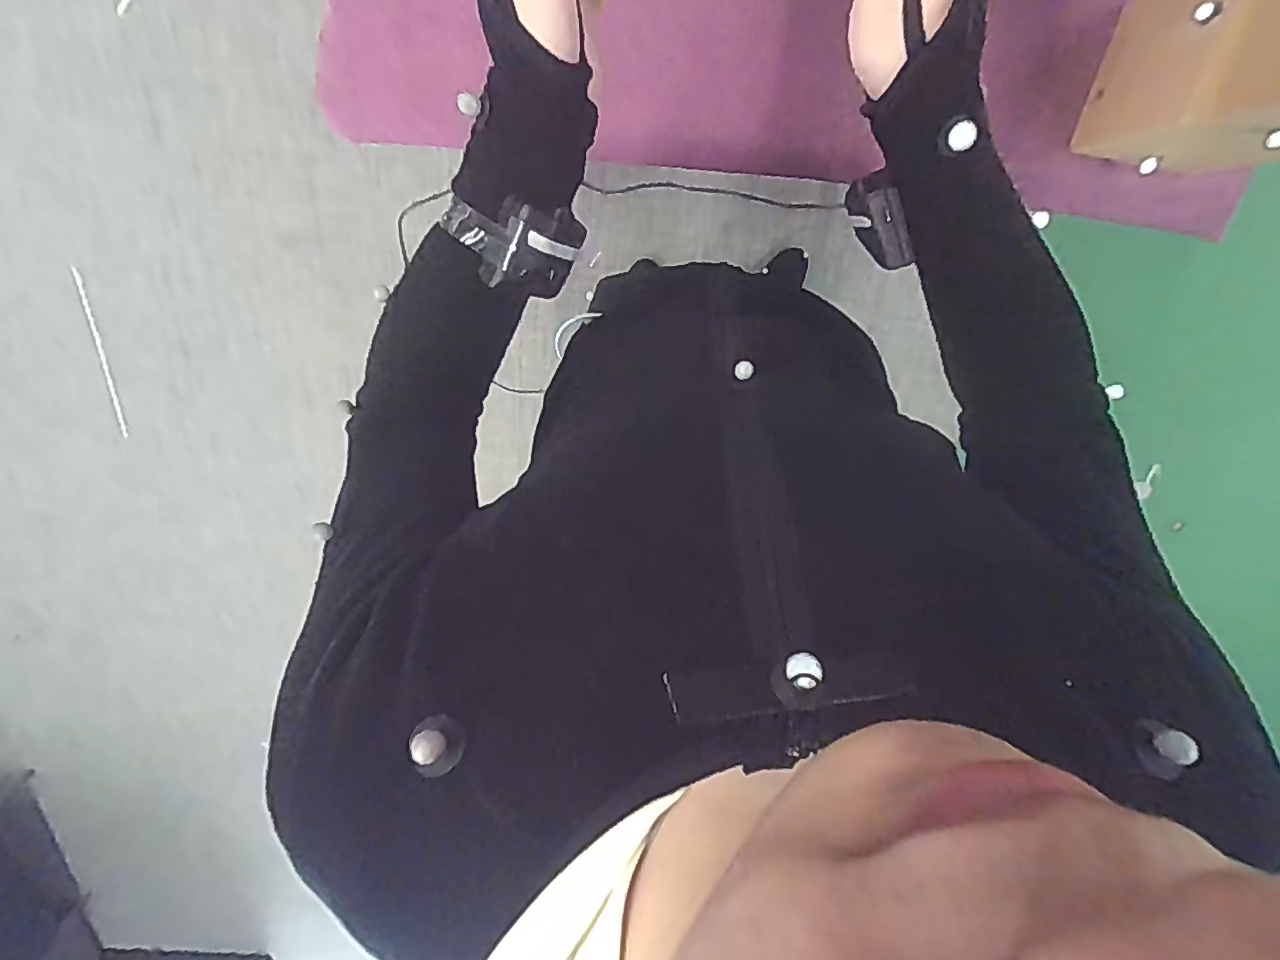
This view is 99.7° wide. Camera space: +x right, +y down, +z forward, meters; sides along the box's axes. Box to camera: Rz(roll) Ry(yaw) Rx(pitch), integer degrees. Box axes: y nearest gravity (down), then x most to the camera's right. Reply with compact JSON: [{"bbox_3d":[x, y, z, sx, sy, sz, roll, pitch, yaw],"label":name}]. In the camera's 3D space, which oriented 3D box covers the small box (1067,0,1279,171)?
[{"bbox_3d":[0.663,-0.470,0.624,0.179,0.176,0.168,9,111,-3],"label":"small box"}]
